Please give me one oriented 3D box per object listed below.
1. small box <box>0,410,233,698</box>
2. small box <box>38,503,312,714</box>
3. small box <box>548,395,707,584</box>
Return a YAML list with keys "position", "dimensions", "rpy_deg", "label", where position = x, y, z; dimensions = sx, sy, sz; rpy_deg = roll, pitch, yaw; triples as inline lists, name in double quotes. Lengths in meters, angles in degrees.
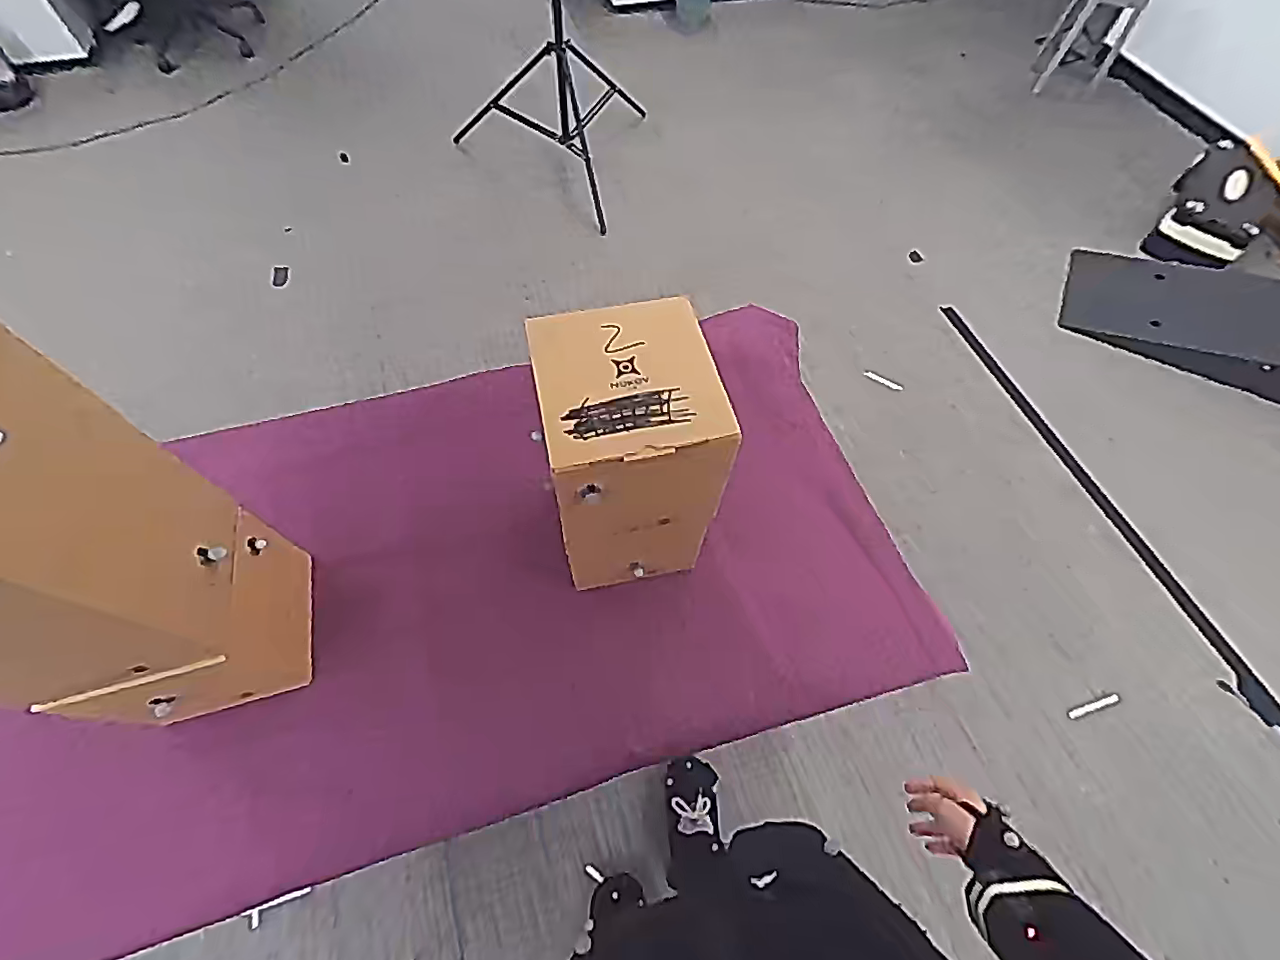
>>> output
- position: [-0.494, 0.069, 0.472]
  dimensions: [0.168, 0.176, 0.179]
  rpy_deg: [-14, 62, -10]
  label: "small box"
- position: [-0.498, 0.153, 0.613]
  dimensions: [0.168, 0.176, 0.179]
  rpy_deg: [-14, 62, -9]
  label: "small box"
- position: [-0.022, 0.017, 0.706]
  dimensions: [0.168, 0.176, 0.179]
  rpy_deg: [-10, 62, -7]
  label: "small box"
